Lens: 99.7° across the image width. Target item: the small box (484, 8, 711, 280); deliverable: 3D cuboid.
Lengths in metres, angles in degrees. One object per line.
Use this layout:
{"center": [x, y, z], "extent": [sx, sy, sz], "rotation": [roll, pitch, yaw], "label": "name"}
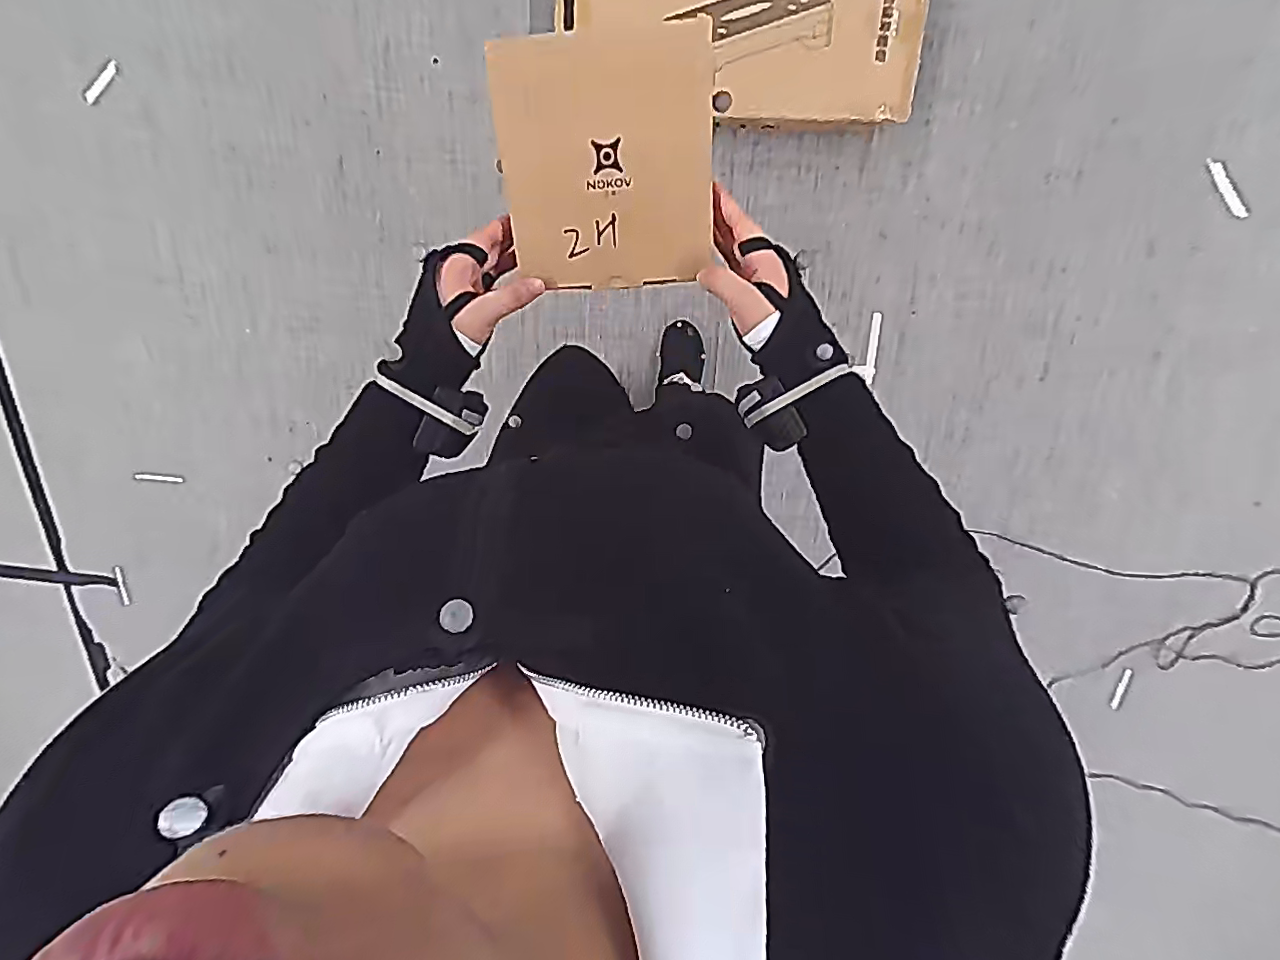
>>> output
{"center": [-0.024, -0.285, 0.490], "extent": [0.168, 0.176, 0.179], "rotation": [-1, 117, 5], "label": "small box"}
